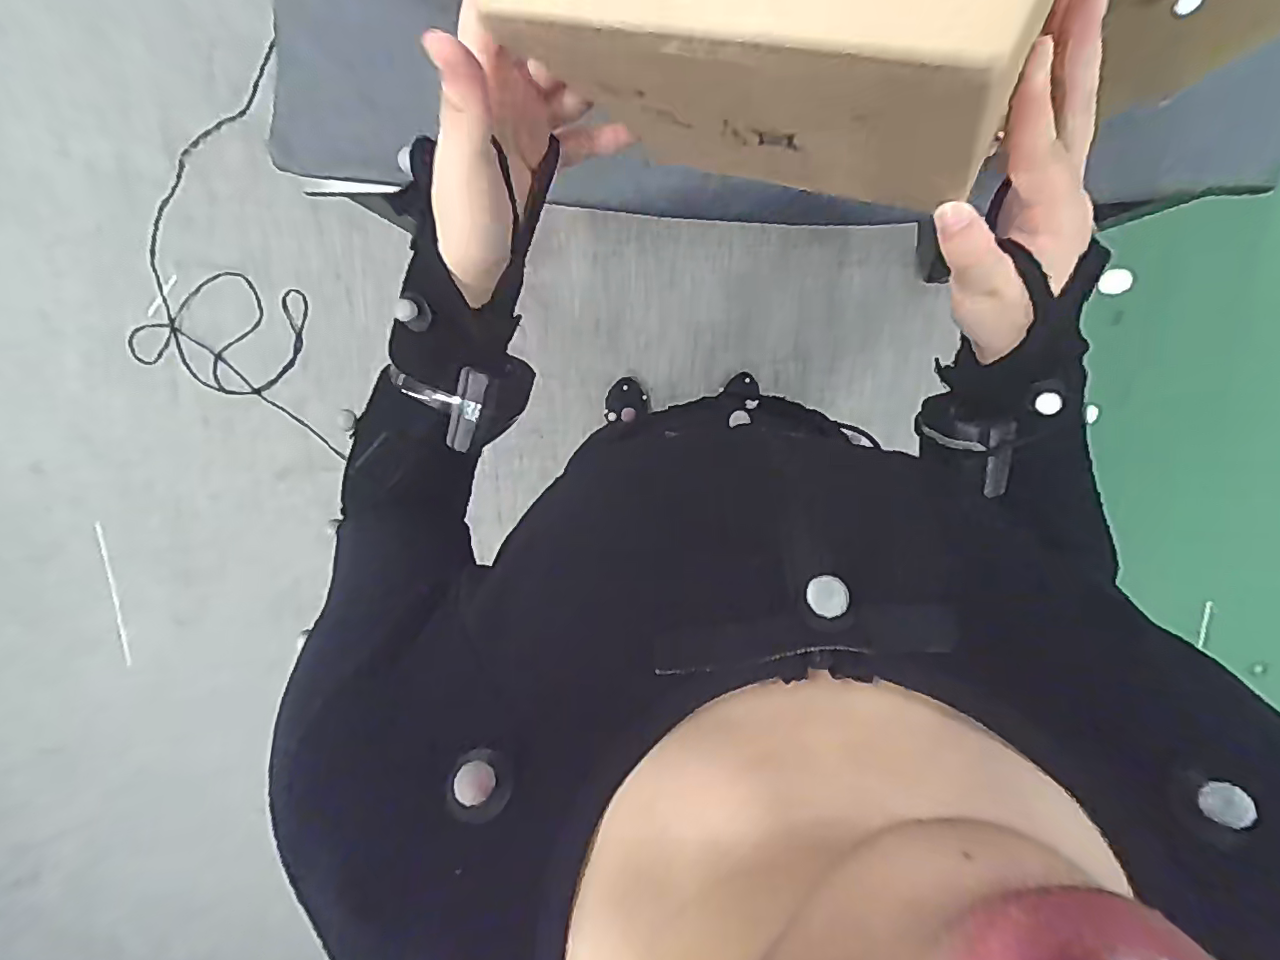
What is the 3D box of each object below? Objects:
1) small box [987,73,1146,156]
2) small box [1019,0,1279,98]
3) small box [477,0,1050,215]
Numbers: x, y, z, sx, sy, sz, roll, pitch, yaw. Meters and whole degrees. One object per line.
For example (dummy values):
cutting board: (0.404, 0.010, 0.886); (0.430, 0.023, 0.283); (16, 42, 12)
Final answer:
small box: (0.415, -0.469, 0.562); (0.168, 0.176, 0.179); (2, 100, 3)
small box: (0.408, -0.426, 0.405); (0.179, 0.176, 0.168); (13, 100, 1)
small box: (0.067, -0.219, 0.201); (0.179, 0.168, 0.176); (26, 115, 22)
